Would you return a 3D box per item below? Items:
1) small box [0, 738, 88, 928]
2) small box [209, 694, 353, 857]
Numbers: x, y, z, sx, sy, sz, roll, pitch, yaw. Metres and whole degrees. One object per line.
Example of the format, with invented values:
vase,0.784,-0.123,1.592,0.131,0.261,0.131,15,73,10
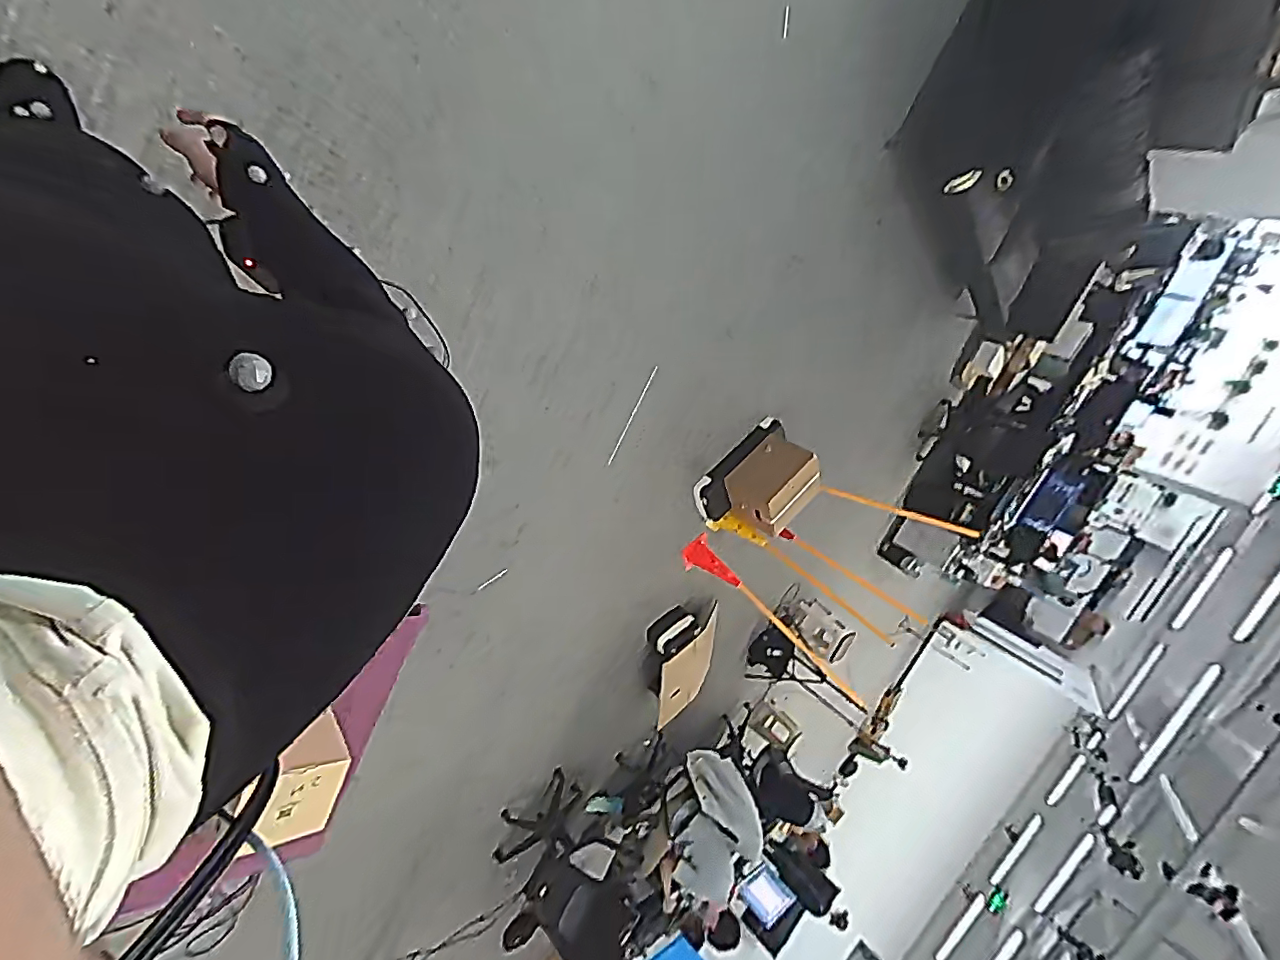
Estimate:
small box,-0.881,0.476,0.725,0.168,0.176,0.179,14,107,-50
small box,-0.661,0.526,0.990,0.168,0.176,0.179,12,108,-50
